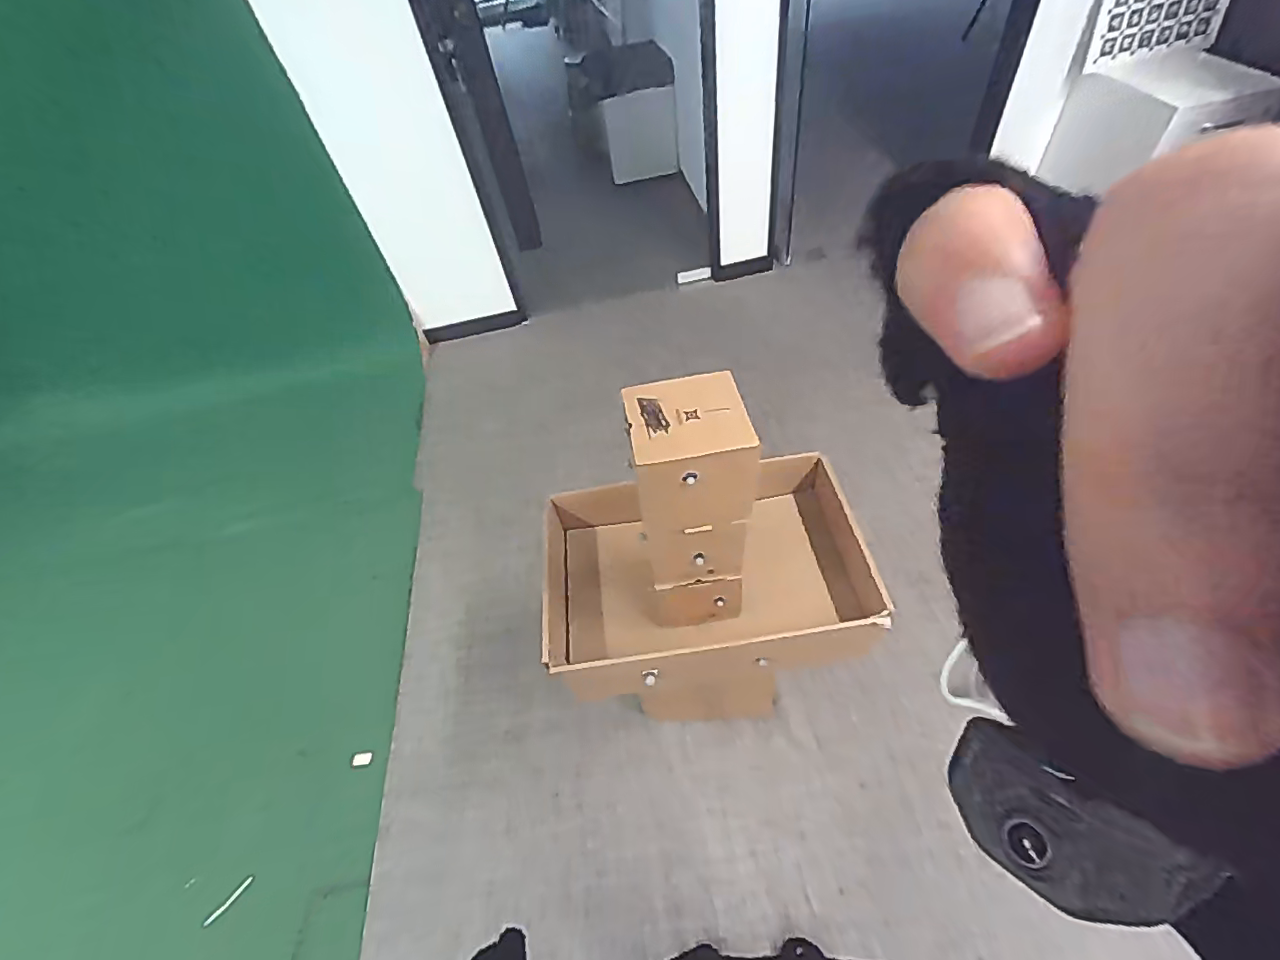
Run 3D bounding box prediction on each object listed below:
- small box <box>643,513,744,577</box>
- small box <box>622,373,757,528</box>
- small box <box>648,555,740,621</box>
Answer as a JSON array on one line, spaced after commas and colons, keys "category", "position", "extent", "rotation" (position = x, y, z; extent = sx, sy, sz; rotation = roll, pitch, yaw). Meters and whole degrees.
[{"category": "small box", "position": [0.088, 0.062, 0.979], "extent": [0.168, 0.176, 0.179], "rotation": [-8, 51, 0]}, {"category": "small box", "position": [0.074, -0.041, 0.851], "extent": [0.179, 0.176, 0.168], "rotation": [-9, 50, -2]}, {"category": "small box", "position": [0.104, 0.172, 1.099], "extent": [0.168, 0.176, 0.179], "rotation": [-9, 48, 0]}]
